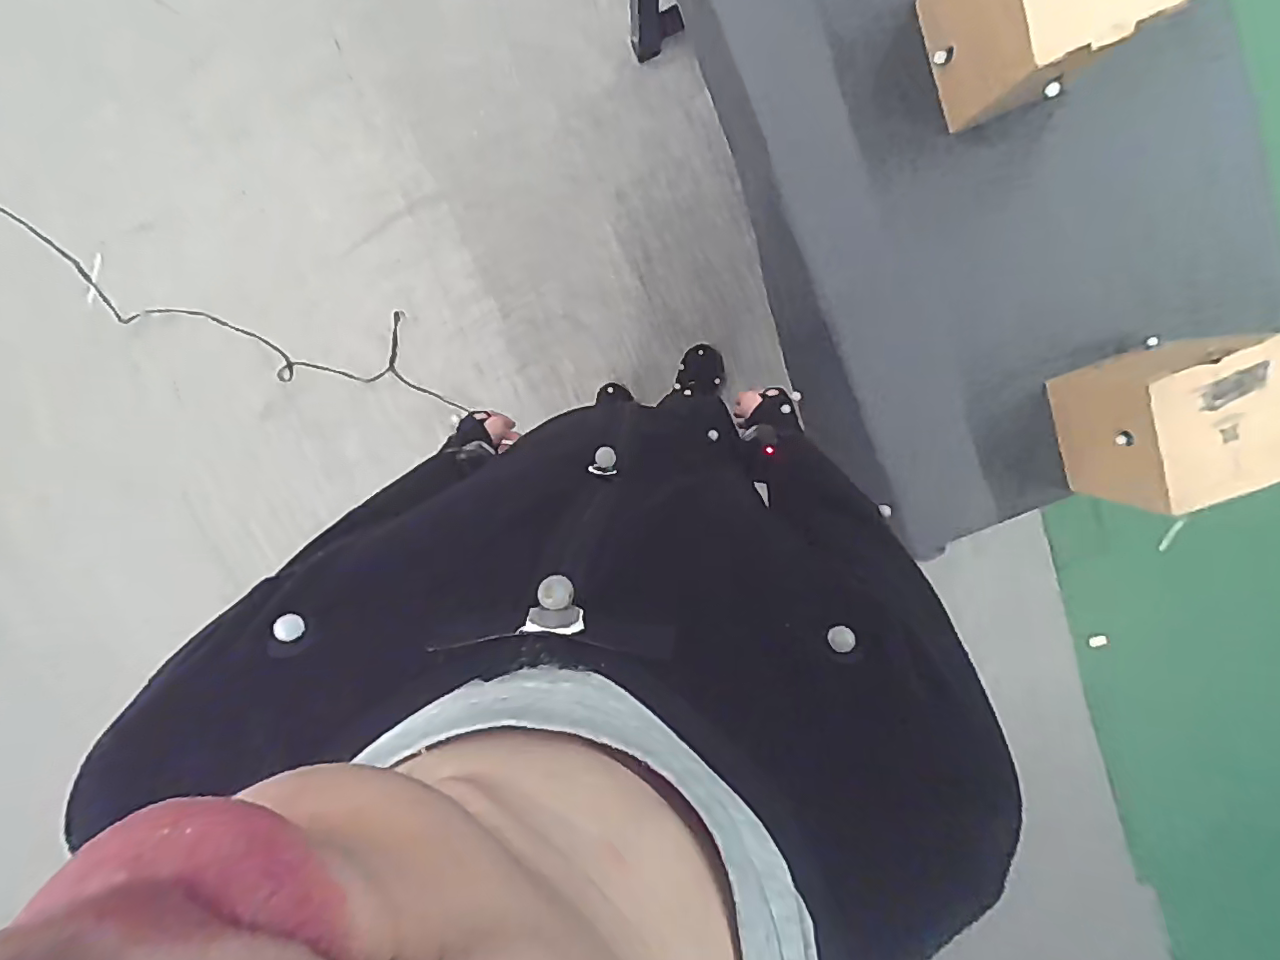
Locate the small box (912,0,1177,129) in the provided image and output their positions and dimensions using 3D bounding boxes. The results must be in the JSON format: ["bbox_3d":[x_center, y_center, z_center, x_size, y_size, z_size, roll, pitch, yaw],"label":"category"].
[{"bbox_3d":[0.460,-0.554,0.639,0.168,0.176,0.179,-23,100,2],"label":"small box"}]

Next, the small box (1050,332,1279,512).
[{"bbox_3d":[0.700,-0.079,0.725,0.168,0.176,0.179,-21,100,2],"label":"small box"}]
